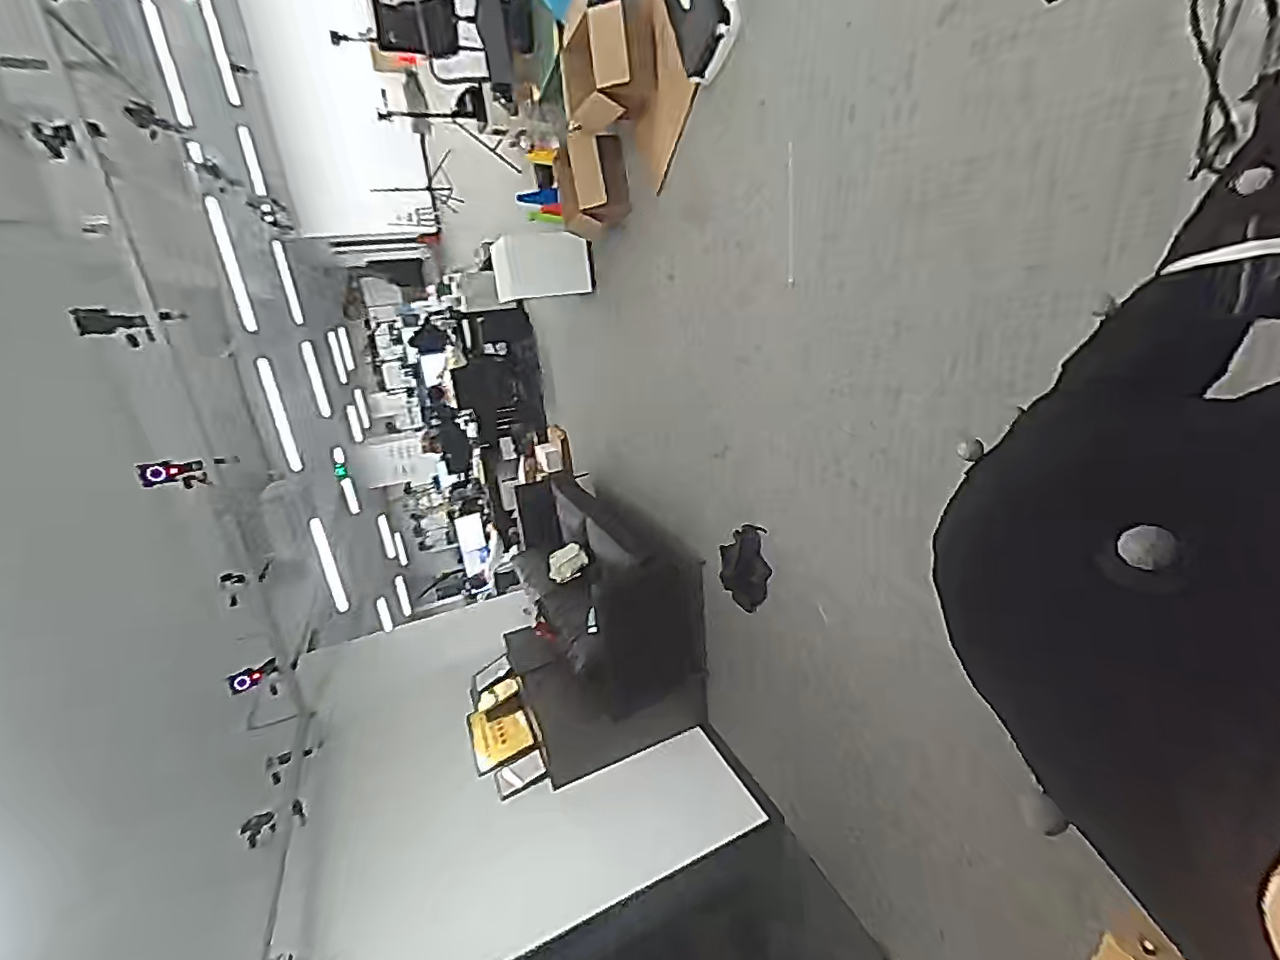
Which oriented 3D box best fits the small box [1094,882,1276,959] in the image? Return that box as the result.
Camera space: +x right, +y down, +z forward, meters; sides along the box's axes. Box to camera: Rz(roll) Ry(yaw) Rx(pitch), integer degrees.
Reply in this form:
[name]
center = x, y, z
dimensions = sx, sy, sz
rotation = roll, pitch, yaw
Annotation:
[small box]
center = 0.806, 0.746, 0.784
dimensions = 0.179, 0.176, 0.168
rotation = -141, 42, -60
